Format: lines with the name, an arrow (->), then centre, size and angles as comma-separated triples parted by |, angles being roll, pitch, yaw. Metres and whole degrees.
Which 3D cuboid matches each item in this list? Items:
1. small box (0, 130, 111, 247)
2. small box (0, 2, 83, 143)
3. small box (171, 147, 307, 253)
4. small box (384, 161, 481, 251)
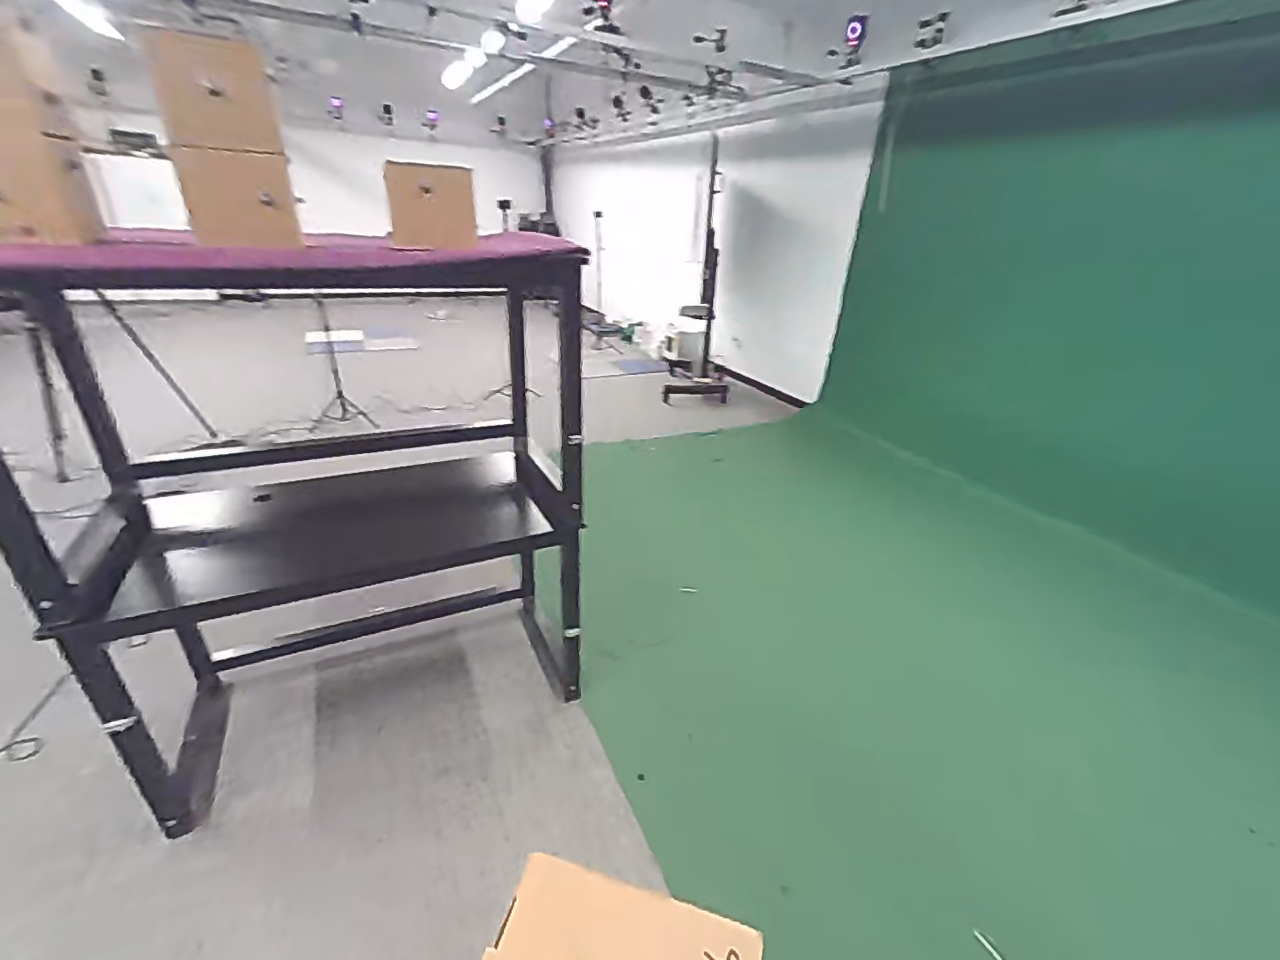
small box -> -1.053, -0.494, 0.919 | 0.168, 0.176, 0.179 | -9, 29, -26
small box -> -1.042, -0.639, 0.846 | 0.179, 0.176, 0.168 | -10, 30, -27
small box -> -0.770, -0.545, 1.062 | 0.179, 0.176, 0.168 | -11, 29, -25
small box -> -0.469, -0.612, 1.225 | 0.179, 0.176, 0.168 | -9, 27, -24
